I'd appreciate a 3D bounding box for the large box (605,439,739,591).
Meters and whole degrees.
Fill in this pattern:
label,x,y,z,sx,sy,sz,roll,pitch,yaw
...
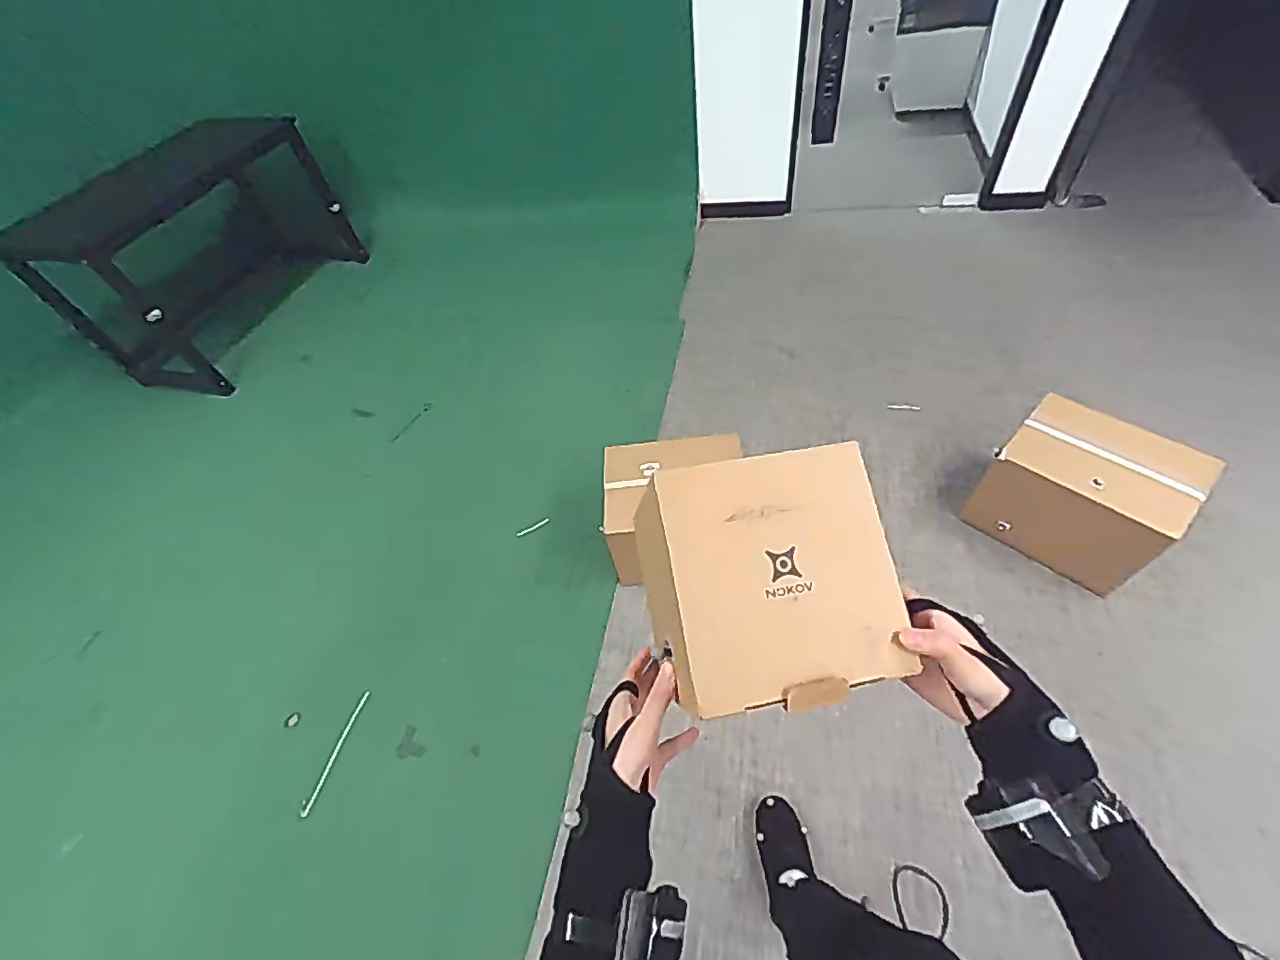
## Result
label,x,y,z,sx,sy,sz,roll,pitch,yaw
large box,0.120,0.112,1.624,0.408,0.320,0.320,-7,50,5

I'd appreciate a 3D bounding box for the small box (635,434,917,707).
label,x,y,z,sx,sy,sz,roll,pitch,yaw
small box,0.093,0.077,0.463,0.168,0.176,0.179,-8,75,-8
